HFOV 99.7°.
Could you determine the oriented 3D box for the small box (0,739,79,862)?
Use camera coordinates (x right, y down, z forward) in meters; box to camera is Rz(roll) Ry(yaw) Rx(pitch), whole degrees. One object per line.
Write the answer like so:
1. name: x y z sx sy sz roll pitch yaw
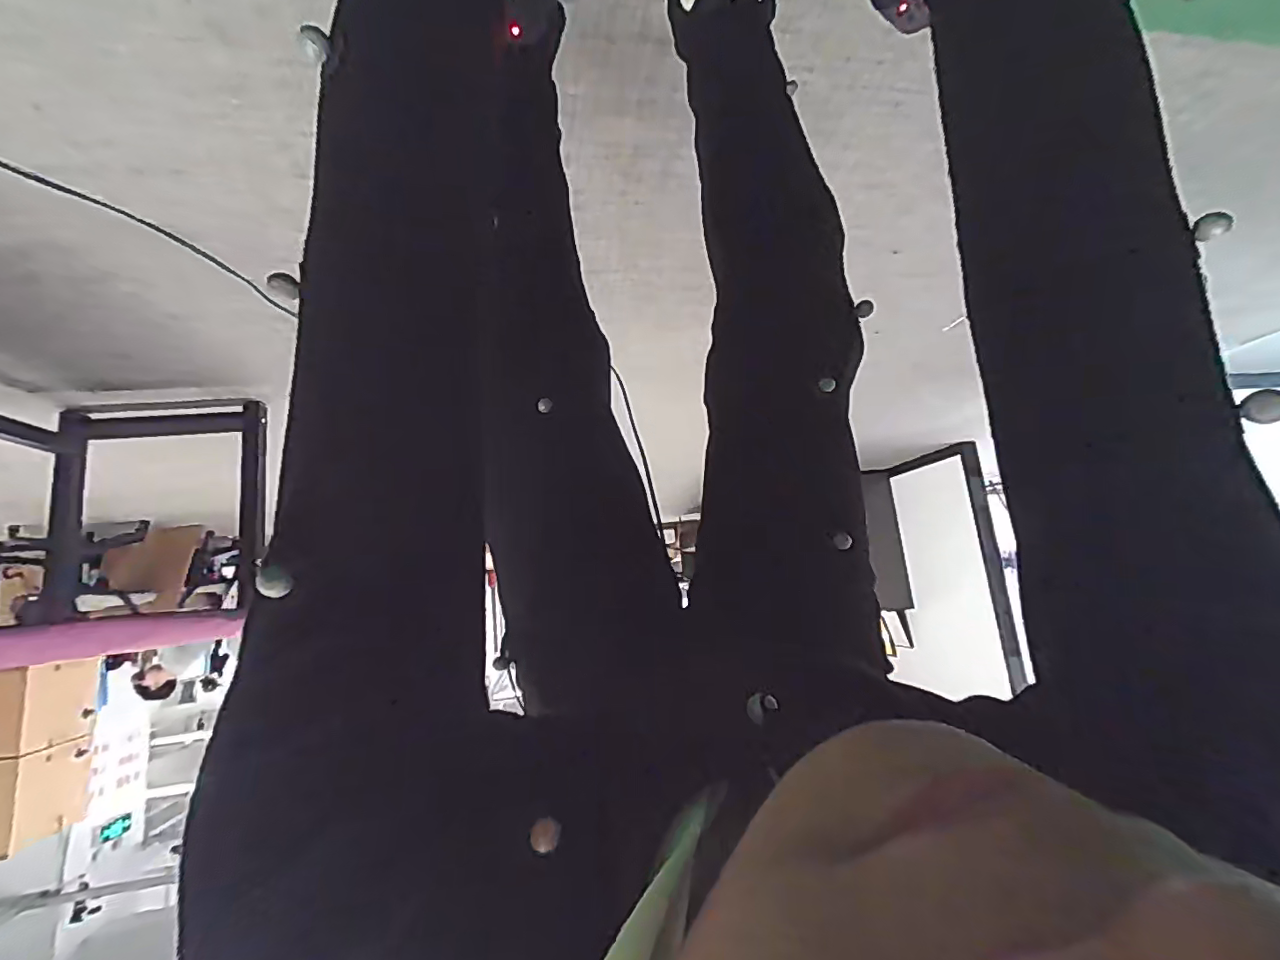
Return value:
1. small box: -1.206 0.595 1.004 0.179 0.176 0.168 -3 169 -9
